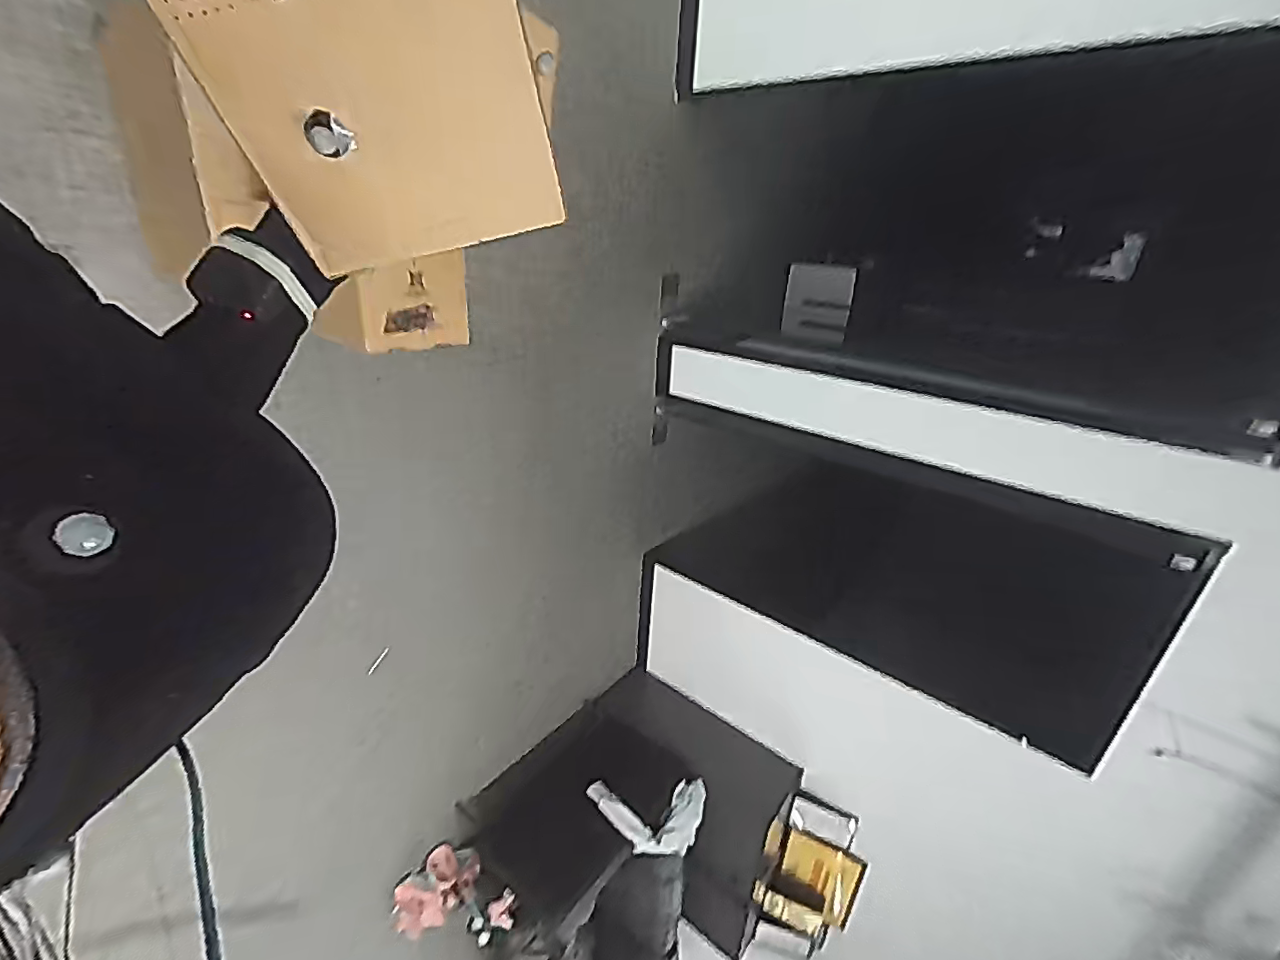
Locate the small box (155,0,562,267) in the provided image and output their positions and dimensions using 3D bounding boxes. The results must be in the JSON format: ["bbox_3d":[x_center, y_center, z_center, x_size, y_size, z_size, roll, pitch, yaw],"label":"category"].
[{"bbox_3d":[-0.158,-0.270,0.337,0.168,0.179,0.176,-15,142,-2],"label":"small box"}]

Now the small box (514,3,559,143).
[{"bbox_3d":[-0.219,-0.456,0.642,0.168,0.176,0.179,-15,121,-50],"label":"small box"}]

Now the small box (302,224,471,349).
[{"bbox_3d":[-0.374,-0.302,0.807,0.168,0.176,0.179,-23,125,-46],"label":"small box"}]
